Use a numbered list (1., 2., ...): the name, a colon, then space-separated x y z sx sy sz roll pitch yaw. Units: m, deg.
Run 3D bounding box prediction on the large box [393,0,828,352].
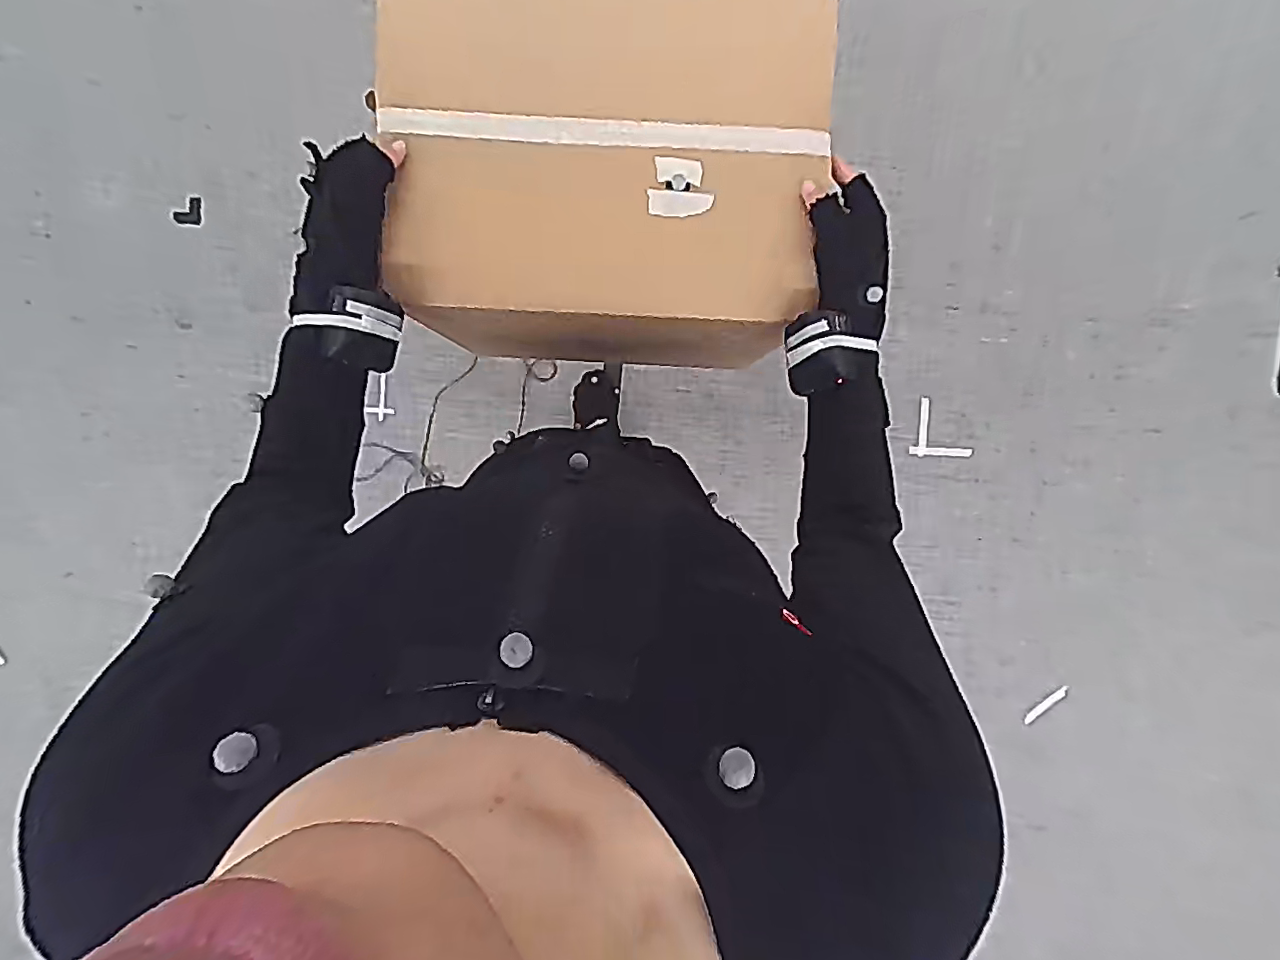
1. large box: -0.034 -0.336 0.649 0.408 0.320 0.320 2 95 -2
